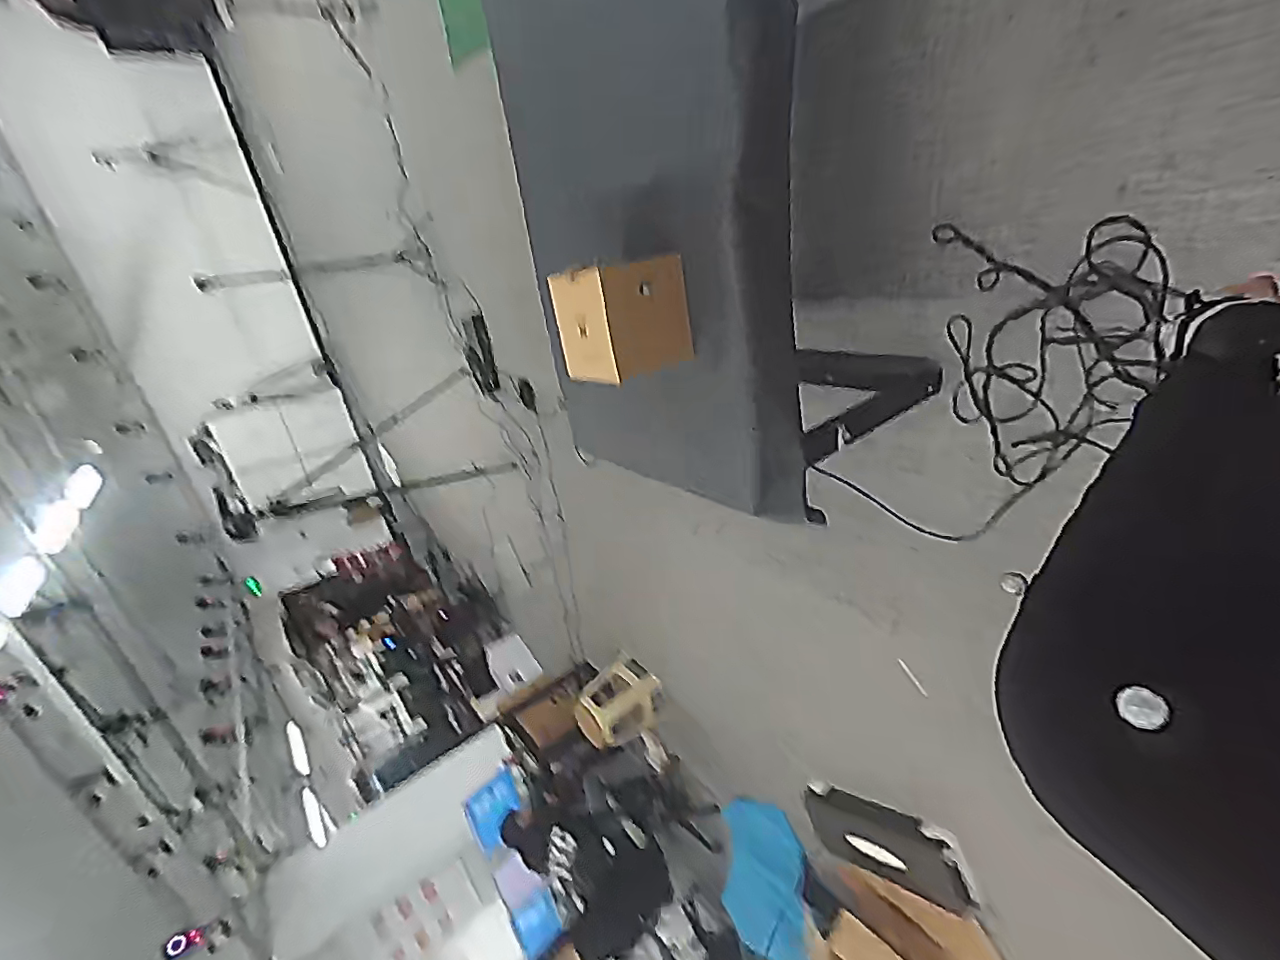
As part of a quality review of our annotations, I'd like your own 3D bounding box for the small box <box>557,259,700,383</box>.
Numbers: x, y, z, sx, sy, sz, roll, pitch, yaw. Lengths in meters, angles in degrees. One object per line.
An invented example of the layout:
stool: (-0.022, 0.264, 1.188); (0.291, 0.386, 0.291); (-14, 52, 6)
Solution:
small box: (-0.016, -0.279, 0.939); (0.168, 0.176, 0.179); (18, 126, 52)
